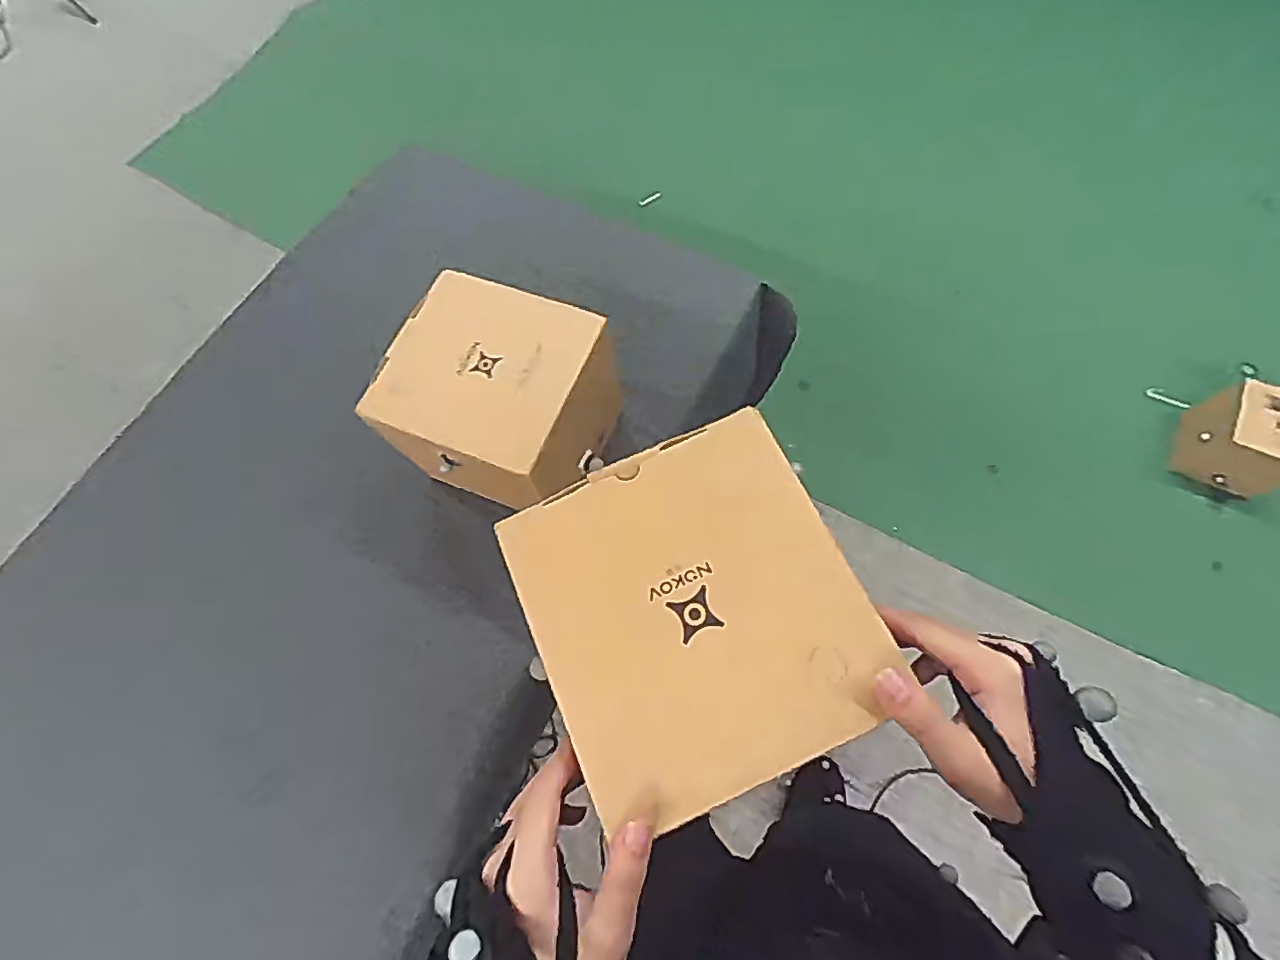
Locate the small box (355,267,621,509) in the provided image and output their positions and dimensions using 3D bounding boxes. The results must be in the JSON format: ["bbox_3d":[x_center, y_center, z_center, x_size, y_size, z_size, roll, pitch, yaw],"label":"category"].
[{"bbox_3d":[-0.133,-0.077,0.549,0.179,0.176,0.168,19,73,11],"label":"small box"}]

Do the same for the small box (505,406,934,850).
[{"bbox_3d":[0.041,0.088,0.351,0.168,0.176,0.179,-25,71,-2],"label":"small box"}]
